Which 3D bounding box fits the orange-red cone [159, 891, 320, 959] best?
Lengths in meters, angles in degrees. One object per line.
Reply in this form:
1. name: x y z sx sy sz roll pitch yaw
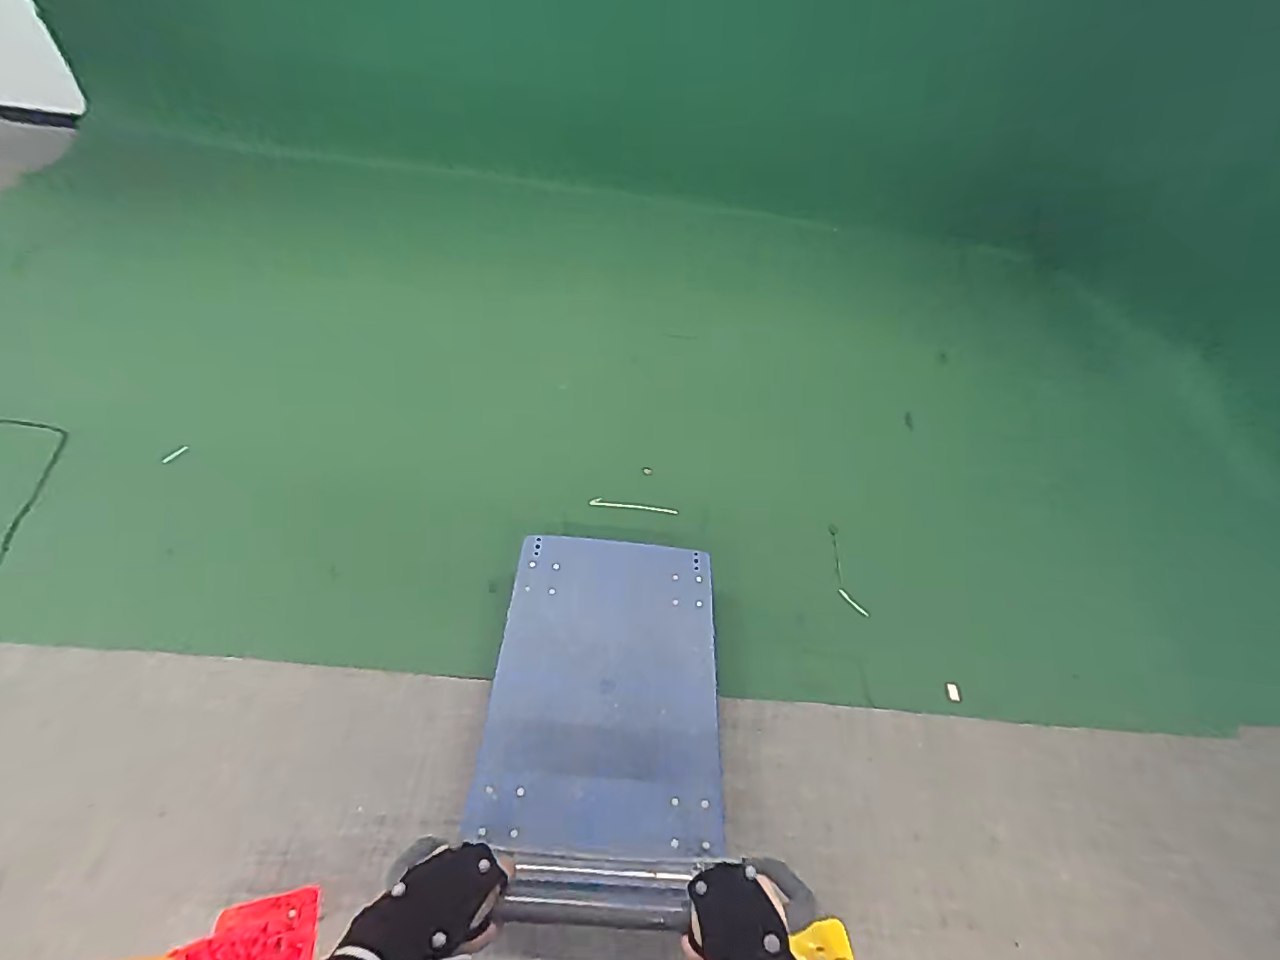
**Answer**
1. orange-red cone: -0.767 0.881 0.987 0.199 0.360 0.198 -6 52 -11
